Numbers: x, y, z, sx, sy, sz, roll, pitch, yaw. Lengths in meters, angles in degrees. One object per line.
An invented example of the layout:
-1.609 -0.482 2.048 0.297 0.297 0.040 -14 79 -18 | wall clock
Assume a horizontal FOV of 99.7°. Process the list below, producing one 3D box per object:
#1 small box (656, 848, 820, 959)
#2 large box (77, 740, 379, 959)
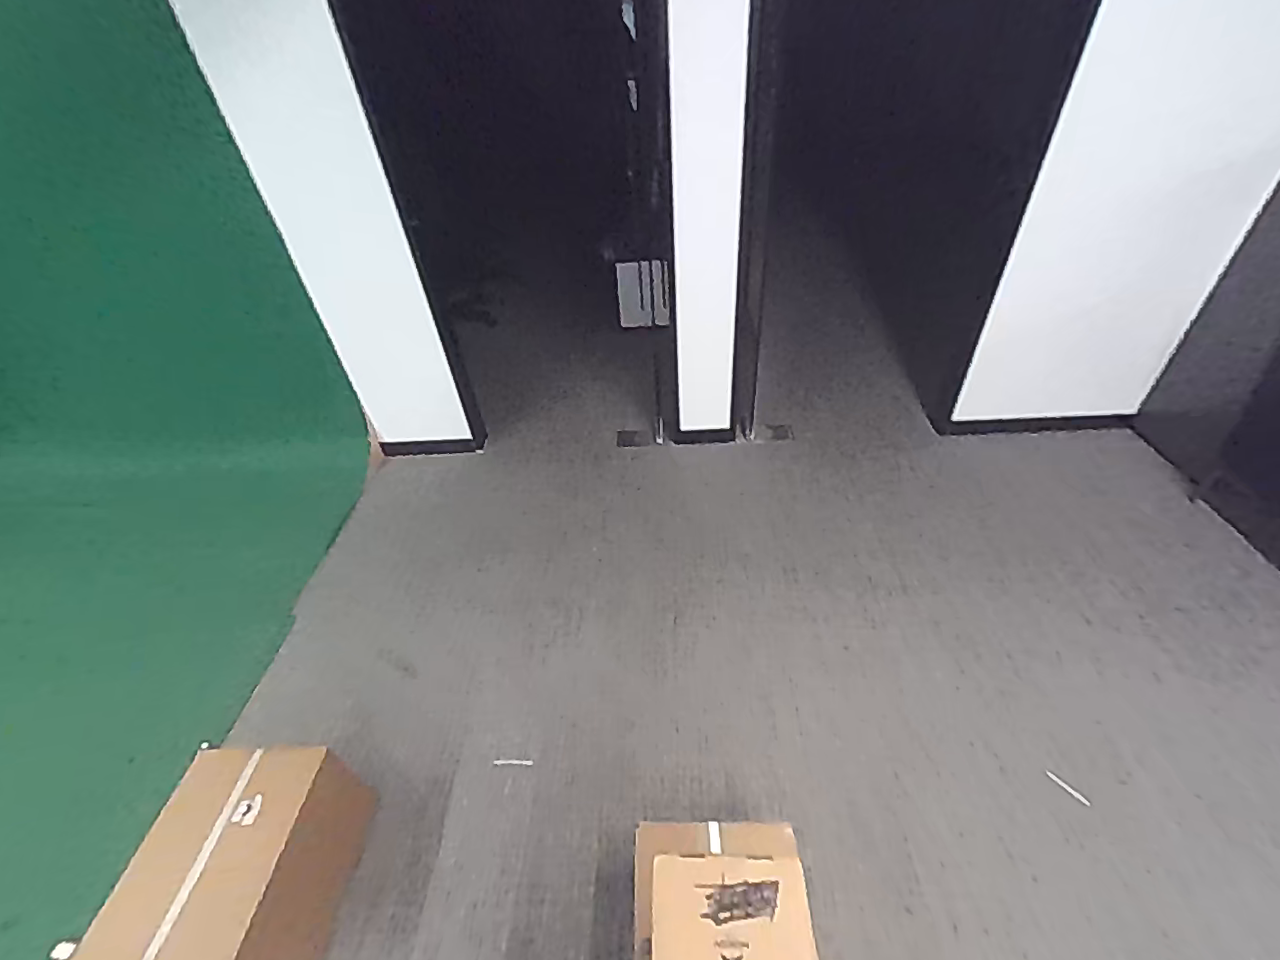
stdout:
0.103 0.534 0.596 0.168 0.176 0.179 -2 43 5 | small box
-0.852 0.853 1.200 0.320 0.320 0.408 -3 40 3 | large box
